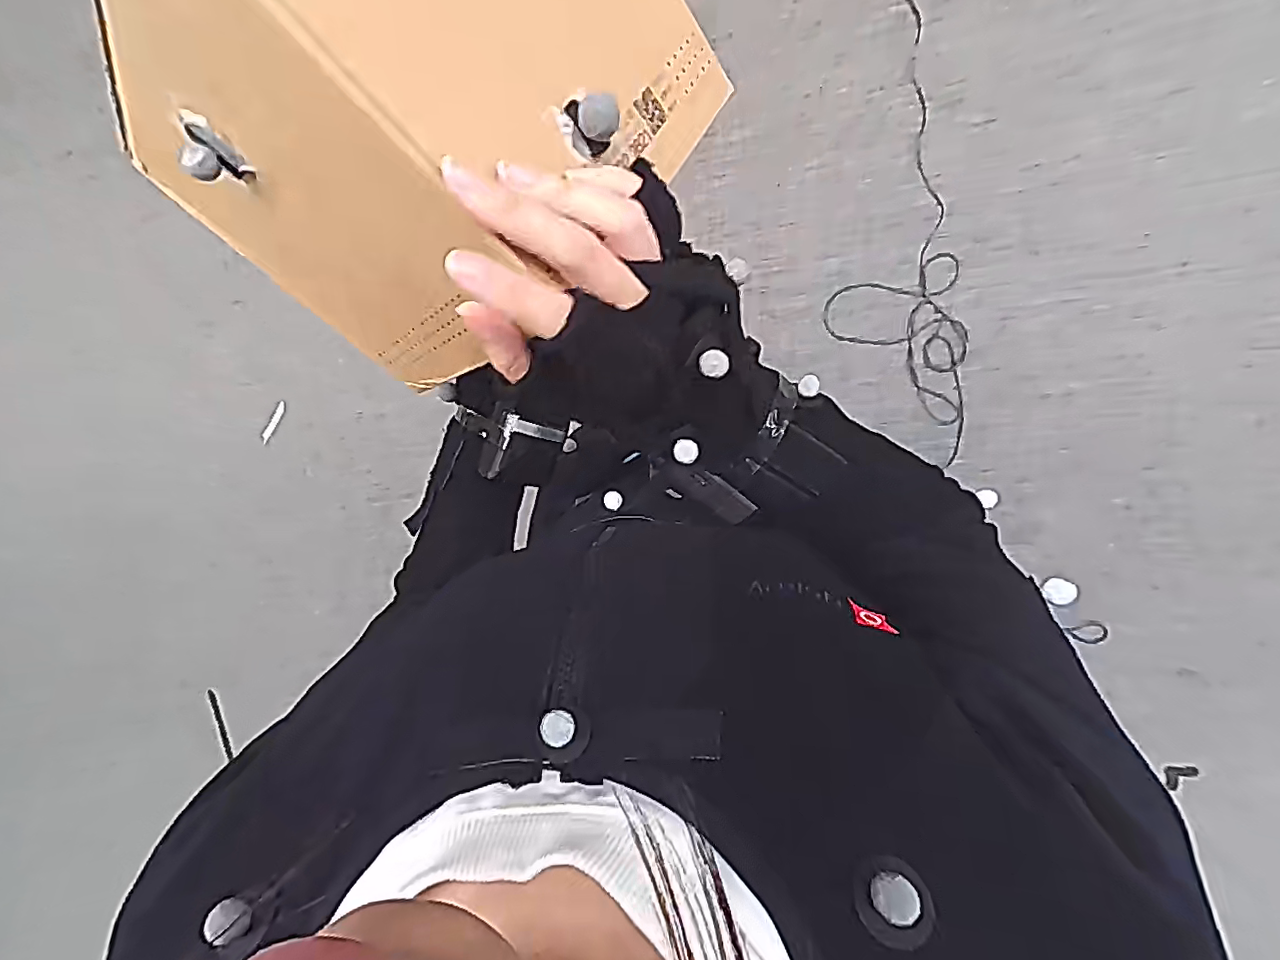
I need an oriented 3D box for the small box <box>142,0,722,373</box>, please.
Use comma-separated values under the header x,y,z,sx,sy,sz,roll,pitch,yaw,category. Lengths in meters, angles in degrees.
x,y,z,sx,sy,sz,roll,pitch,yaw,category
-0.093,-0.174,0.275,0.176,0.179,0.168,42,65,-31,small box
